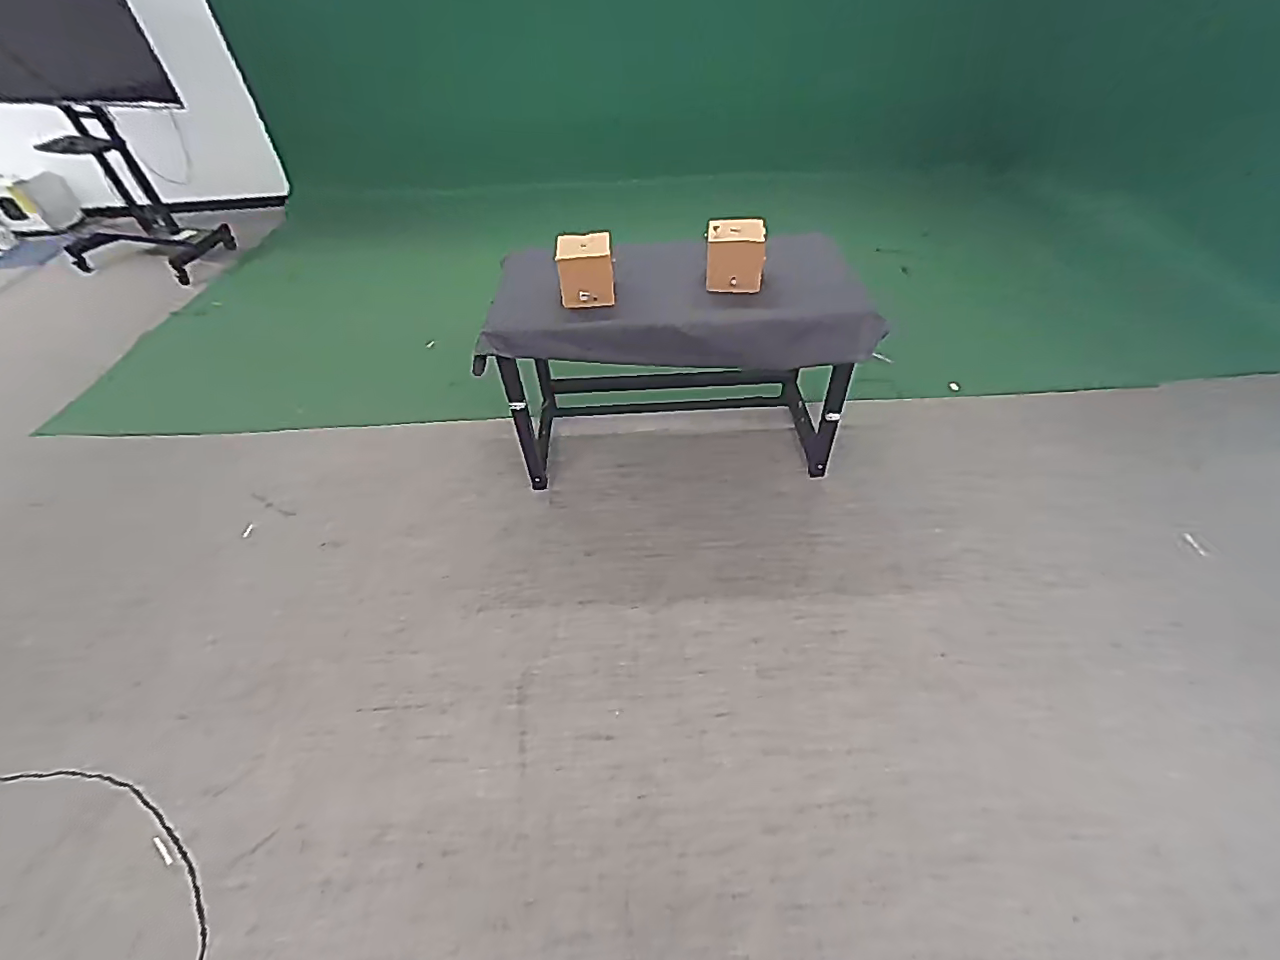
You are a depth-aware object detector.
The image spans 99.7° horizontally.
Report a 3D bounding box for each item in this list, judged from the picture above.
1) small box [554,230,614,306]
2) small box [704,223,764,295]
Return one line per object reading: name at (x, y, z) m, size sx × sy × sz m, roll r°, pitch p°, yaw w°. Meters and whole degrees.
small box at (-0.175, -0.678, 1.731) m, size 0.168 × 0.176 × 0.179 m, roll -4°, pitch 46°, yaw 2°
small box at (0.305, -0.720, 1.766) m, size 0.179 × 0.176 × 0.168 m, roll 4°, pitch 46°, yaw 6°
